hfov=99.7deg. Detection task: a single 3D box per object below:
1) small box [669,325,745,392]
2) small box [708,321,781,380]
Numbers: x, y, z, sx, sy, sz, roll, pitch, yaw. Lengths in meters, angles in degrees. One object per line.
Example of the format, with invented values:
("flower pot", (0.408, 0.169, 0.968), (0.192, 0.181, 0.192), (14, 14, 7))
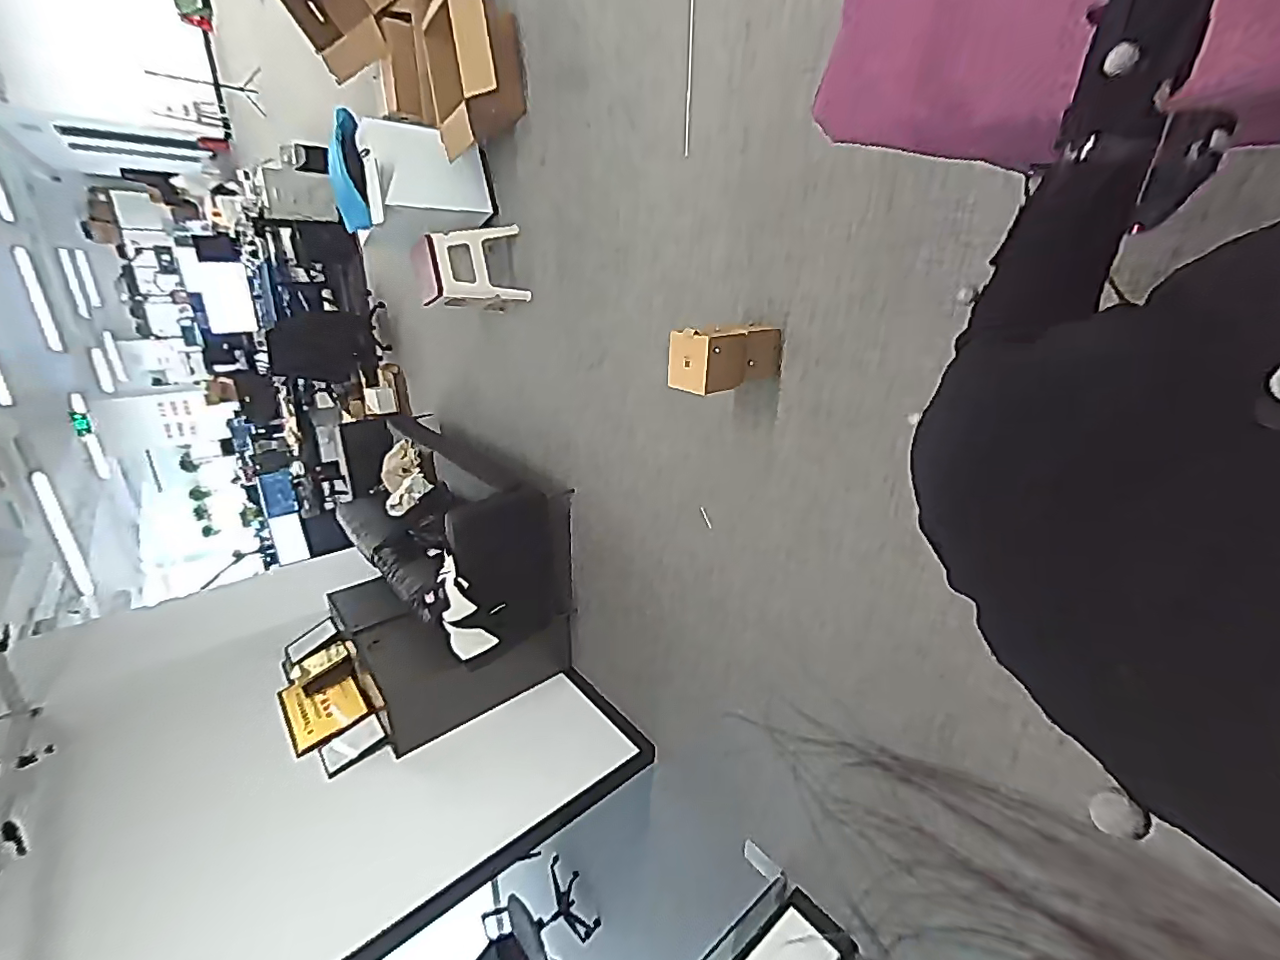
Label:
("small box", (0.209, -0.384, 1.688), (0.168, 0.176, 0.179), (25, 121, 45))
("small box", (0.336, -0.431, 1.781), (0.179, 0.176, 0.168), (25, 122, 45))
